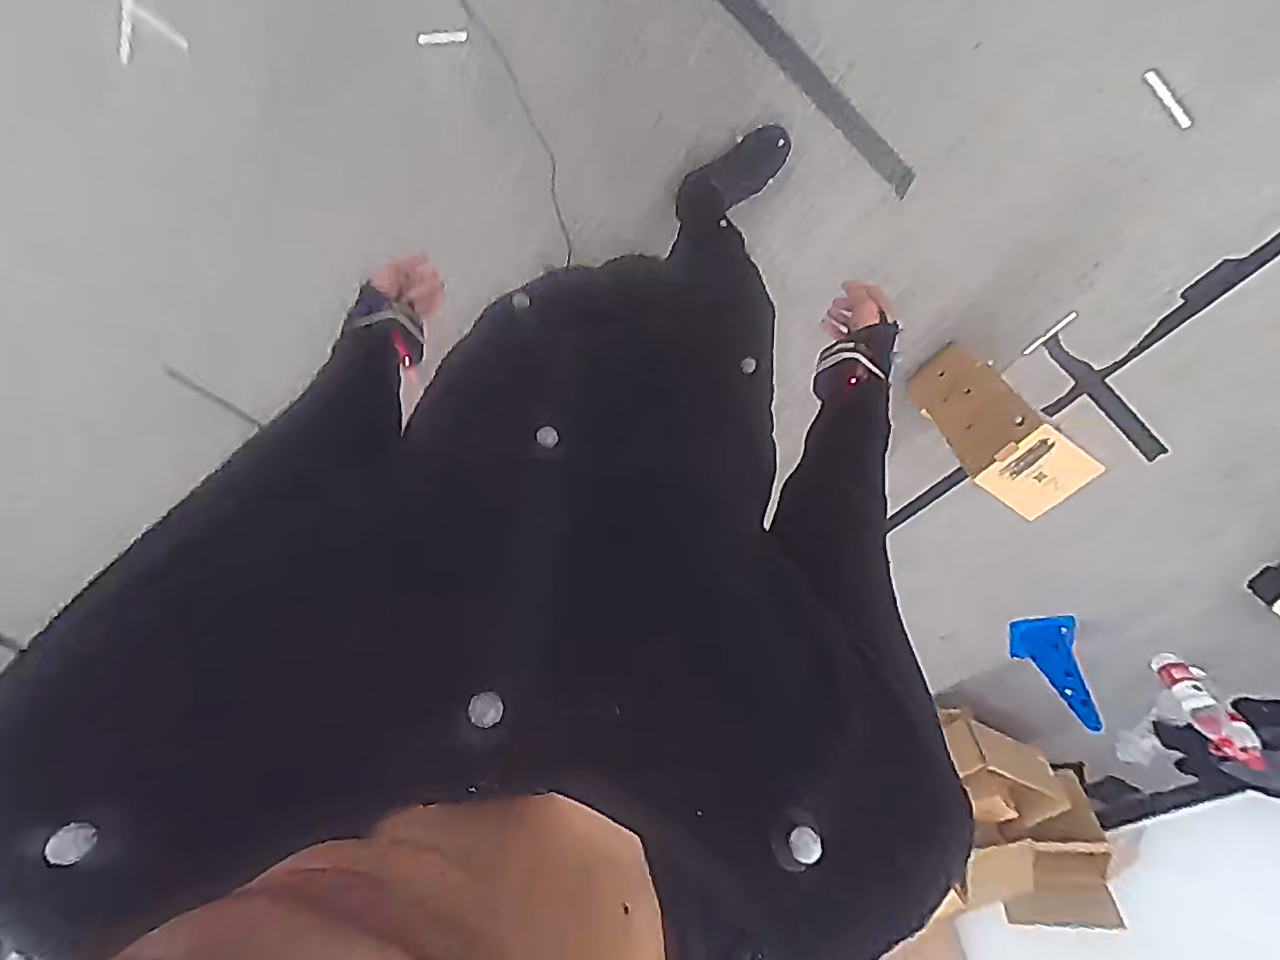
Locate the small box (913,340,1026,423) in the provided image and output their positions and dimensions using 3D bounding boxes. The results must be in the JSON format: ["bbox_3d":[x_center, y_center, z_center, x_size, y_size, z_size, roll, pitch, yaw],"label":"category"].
[{"bbox_3d":[0.846,-0.232,1.413,0.168,0.176,0.179,34,122,-13],"label":"small box"}]

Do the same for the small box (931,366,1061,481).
[{"bbox_3d":[0.832,-0.138,1.281,0.179,0.176,0.168,38,122,-14],"label":"small box"}]
